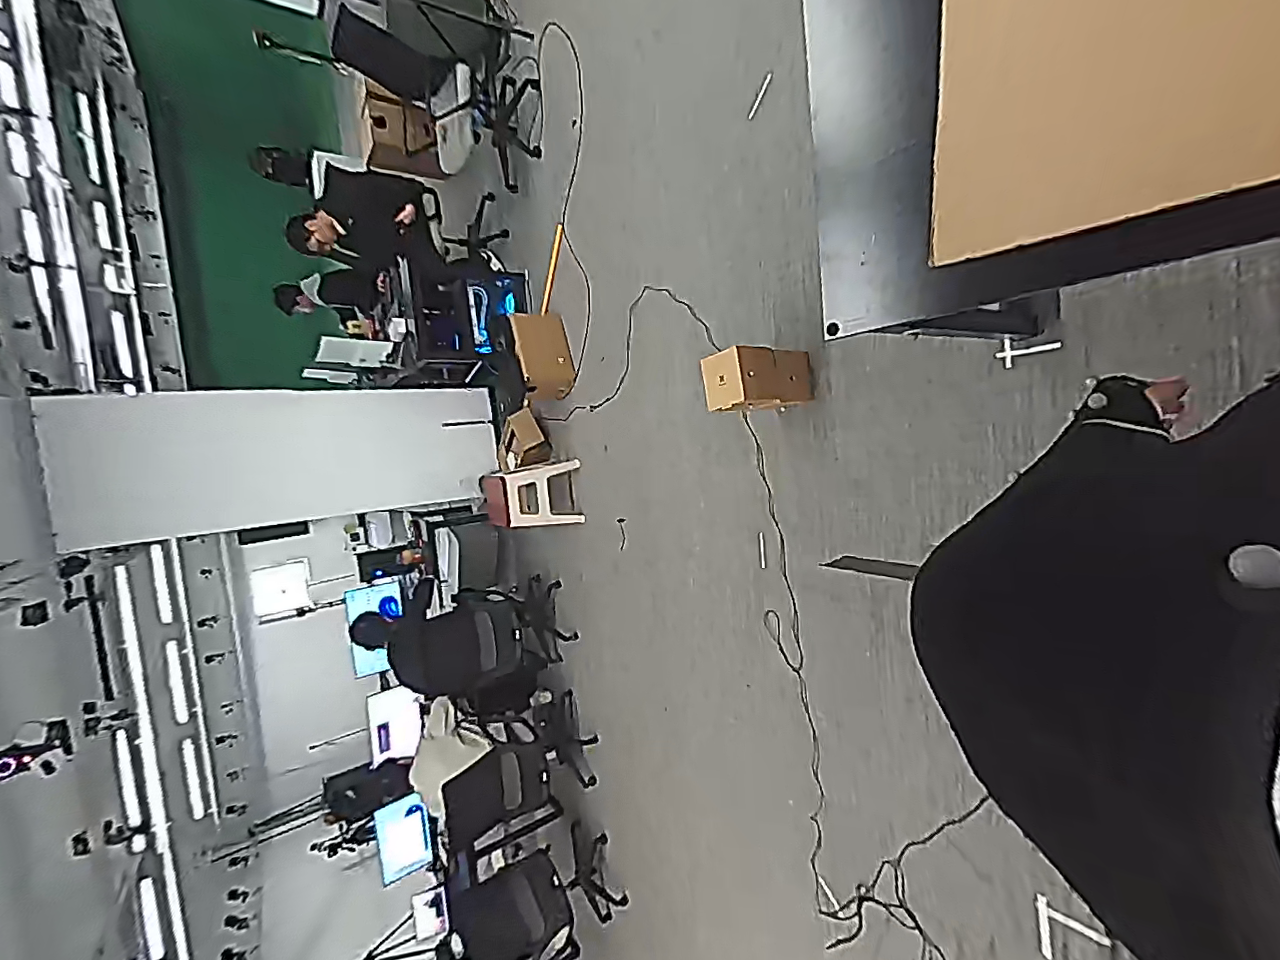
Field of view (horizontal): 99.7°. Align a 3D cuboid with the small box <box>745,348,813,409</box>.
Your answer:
[{"bbox_3d":[0.465,-0.342,1.837,0.168,0.176,0.179,-6,92,56],"label":"small box"}]

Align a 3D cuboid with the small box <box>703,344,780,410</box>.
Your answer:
[{"bbox_3d":[0.331,-0.330,1.745,0.168,0.176,0.179,-10,87,55],"label":"small box"}]
